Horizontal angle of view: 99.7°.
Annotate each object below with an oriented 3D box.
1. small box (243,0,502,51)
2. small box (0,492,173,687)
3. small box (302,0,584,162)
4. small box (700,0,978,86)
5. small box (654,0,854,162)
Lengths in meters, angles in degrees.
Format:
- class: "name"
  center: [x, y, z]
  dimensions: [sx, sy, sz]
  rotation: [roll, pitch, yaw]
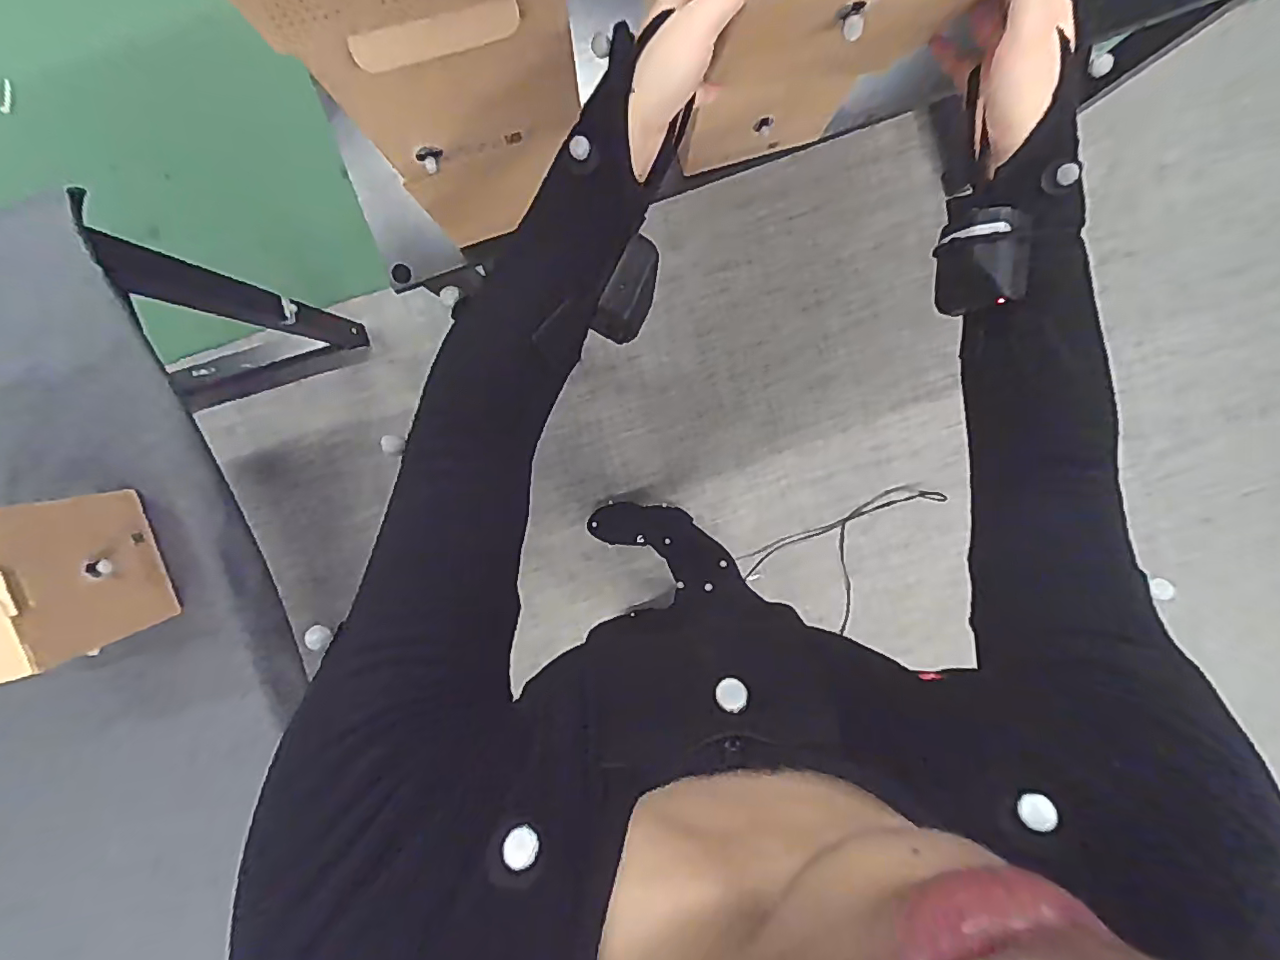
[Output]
- class: "small box"
  center: [-0.136, -0.333, 0.223]
  dimensions: [0.179, 0.176, 0.168]
  rotation: [-15, 95, 0]
- class: "small box"
  center: [-0.669, 0.119, 0.590]
  dimensions: [0.179, 0.176, 0.168]
  rotation: [-15, 97, 2]
- class: "small box"
  center: [-0.143, -0.358, 0.383]
  dimensions: [0.168, 0.176, 0.179]
  rotation: [-15, 95, -1]
- class: "small box"
  center: [0.141, -0.405, 0.375]
  dimensions: [0.179, 0.176, 0.168]
  rotation: [-8, 108, -2]
- class: "small box"
  center: [0.115, -0.452, 0.544]
  dimensions: [0.168, 0.176, 0.179]
  rotation: [-15, 96, 0]
